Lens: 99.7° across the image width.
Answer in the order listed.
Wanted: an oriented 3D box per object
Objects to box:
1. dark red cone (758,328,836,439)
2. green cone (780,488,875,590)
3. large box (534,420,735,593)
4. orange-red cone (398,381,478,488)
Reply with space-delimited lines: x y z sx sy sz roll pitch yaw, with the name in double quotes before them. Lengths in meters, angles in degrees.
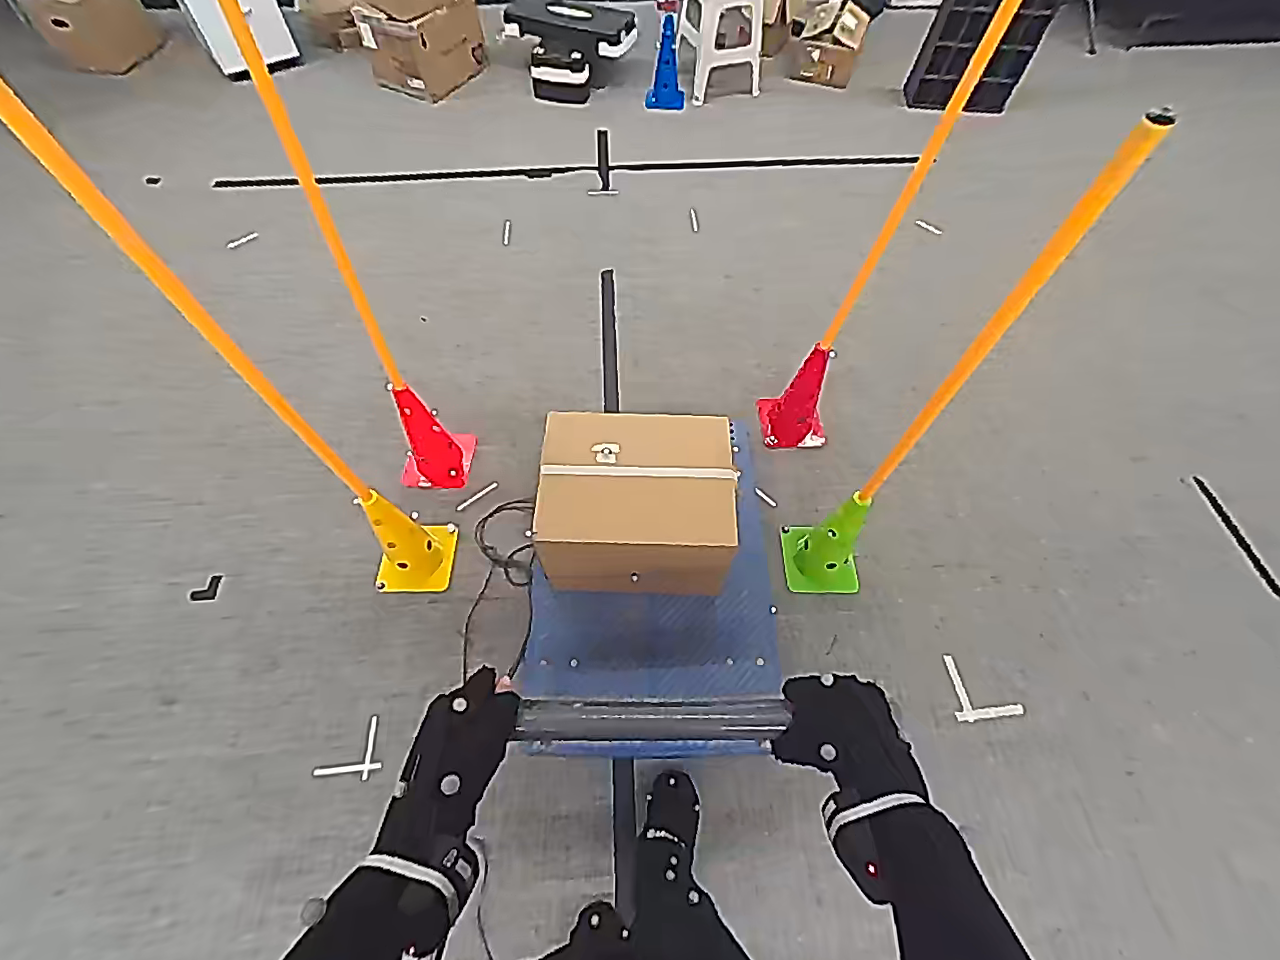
"dark red cone" 0.503 -0.297 1.629 0.201 0.394 0.202 -2 60 -4
"green cone" 0.512 0.129 1.396 0.202 0.368 0.200 1 59 -1
"large box" -0.007 0.072 1.260 0.408 0.320 0.320 1 60 1
"orange-red cone" -0.620 -0.155 1.558 0.198 0.360 0.199 4 58 1
